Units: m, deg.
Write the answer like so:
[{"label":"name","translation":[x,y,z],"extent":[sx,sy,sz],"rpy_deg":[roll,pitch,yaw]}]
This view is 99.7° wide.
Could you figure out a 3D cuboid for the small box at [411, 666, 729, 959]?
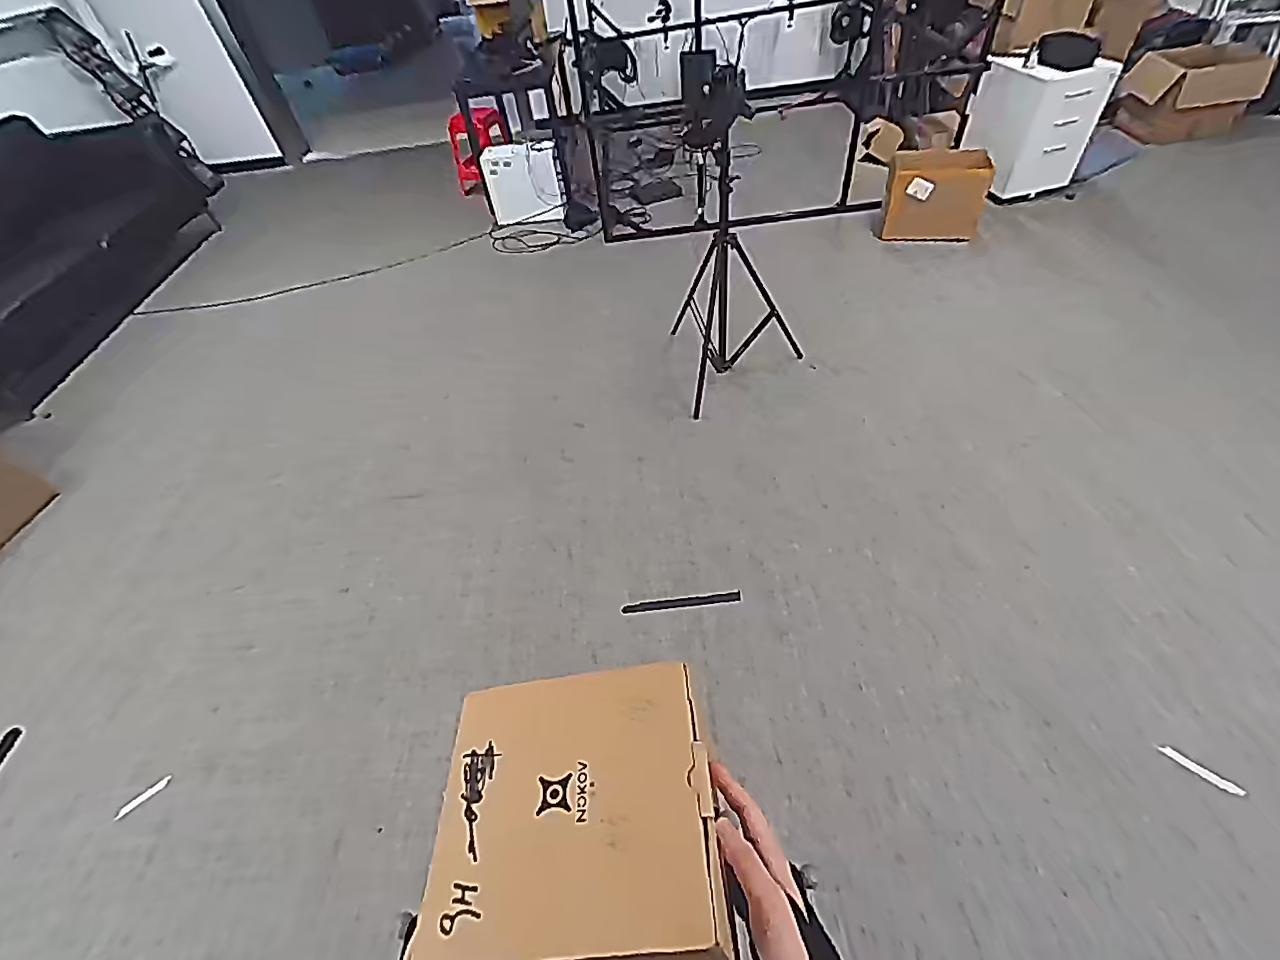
[{"label":"small box","translation":[-0.032,0.264,0.402],"extent":[0.179,0.176,0.168],"rpy_deg":[-10,41,5]}]
